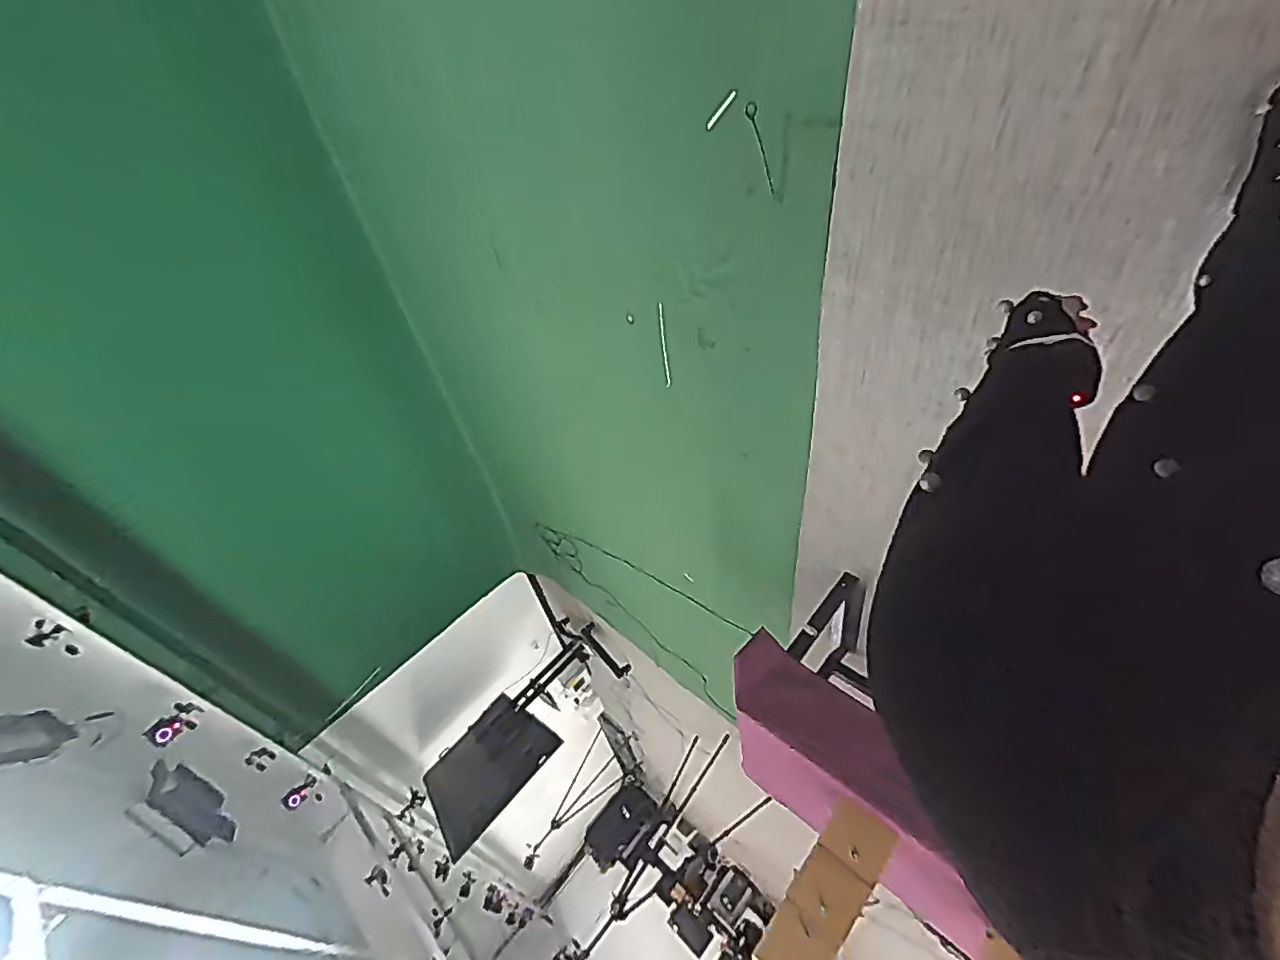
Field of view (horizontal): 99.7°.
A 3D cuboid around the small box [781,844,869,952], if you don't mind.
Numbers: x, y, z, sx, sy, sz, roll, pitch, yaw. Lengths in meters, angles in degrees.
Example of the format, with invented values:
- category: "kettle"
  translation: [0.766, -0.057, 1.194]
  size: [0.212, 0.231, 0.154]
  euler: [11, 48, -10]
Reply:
- category: "small box"
  translation: [0.525, 1.184, 1.545]
  size: [0.179, 0.176, 0.168]
  euler: [27, 145, 35]

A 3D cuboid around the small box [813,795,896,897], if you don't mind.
- category: "small box"
  translation: [0.638, 1.092, 1.617]
  size: [0.179, 0.176, 0.168]
  euler: [29, 146, 36]

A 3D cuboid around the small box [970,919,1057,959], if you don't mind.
- category: "small box"
  translation: [0.951, 1.263, 1.367]
  size: [0.168, 0.176, 0.179]
  euler: [28, 147, 34]
